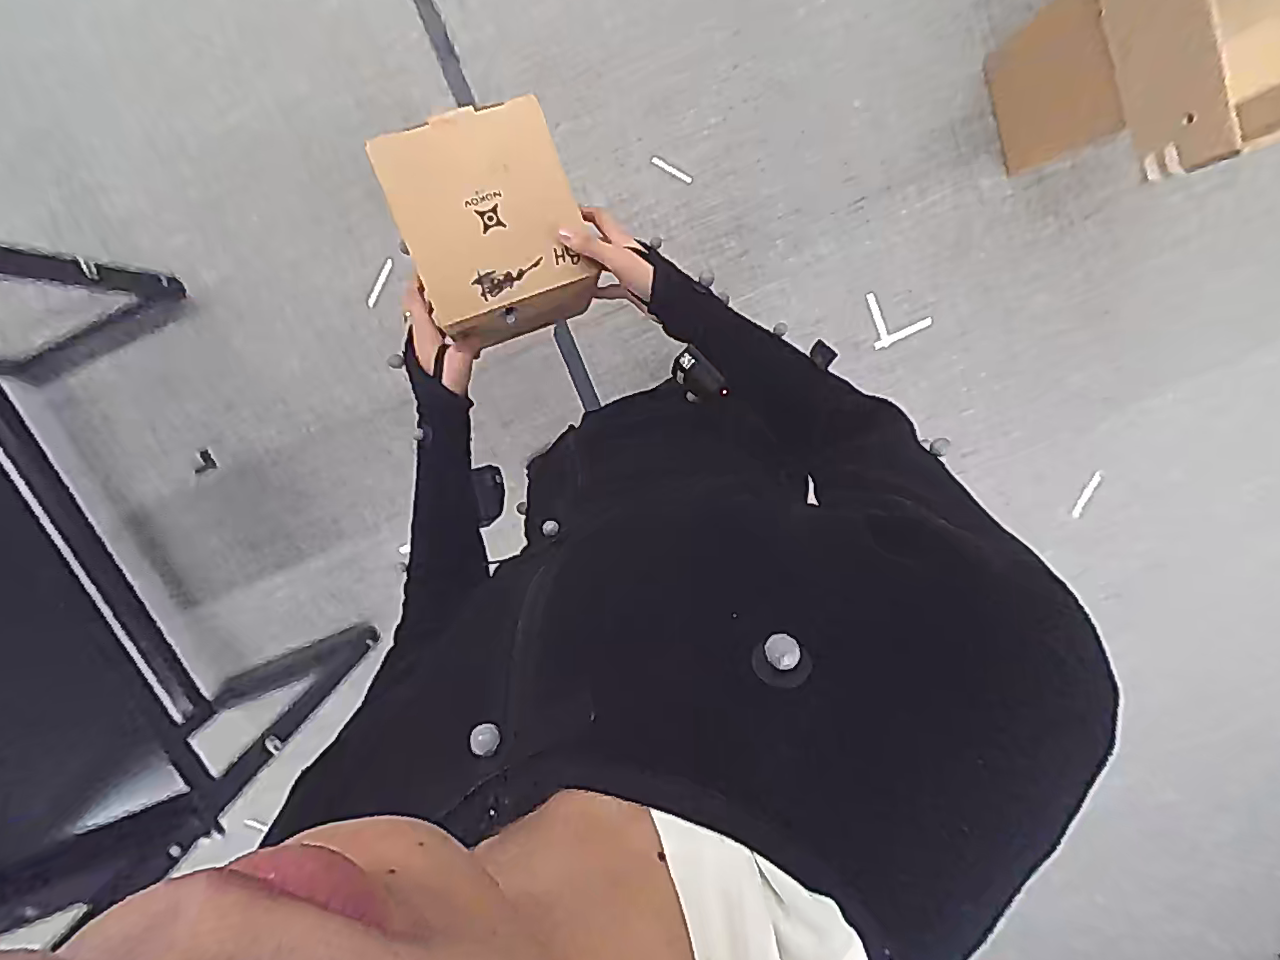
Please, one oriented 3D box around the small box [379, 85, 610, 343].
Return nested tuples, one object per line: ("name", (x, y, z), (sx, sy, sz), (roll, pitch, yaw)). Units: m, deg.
("small box", (-0.147, -0.267, 0.580), (0.168, 0.176, 0.179), (-21, 97, -9))
